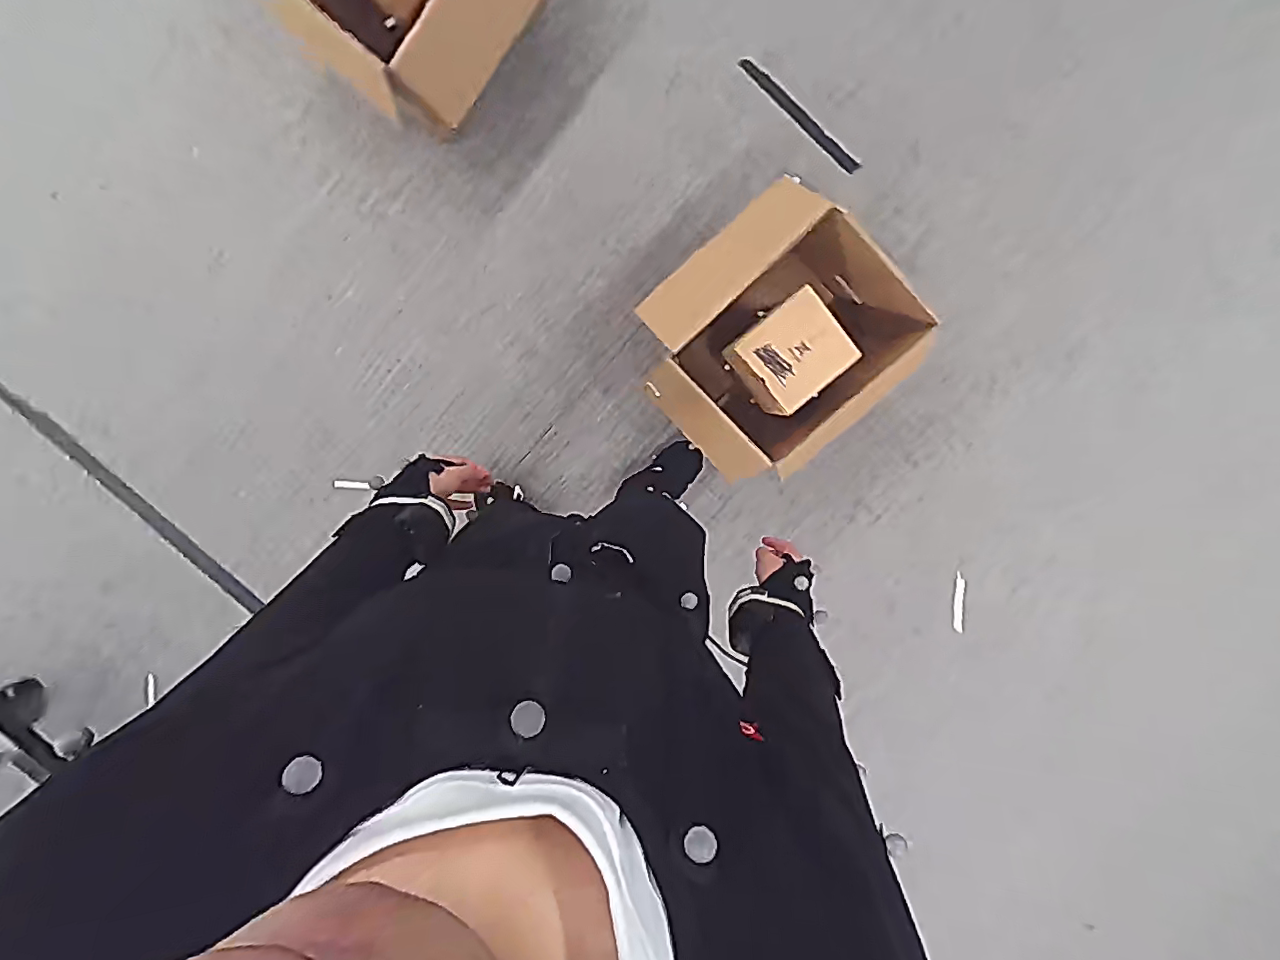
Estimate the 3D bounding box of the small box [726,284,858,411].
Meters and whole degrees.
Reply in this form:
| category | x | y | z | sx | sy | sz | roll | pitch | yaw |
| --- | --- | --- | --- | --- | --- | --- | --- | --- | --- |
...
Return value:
| category | x | y | z | sx | sy | sz | roll | pitch | yaw |
| --- | --- | --- | --- | --- | --- | --- | --- | --- | --- |
| small box | 0.286 | -0.252 | 1.069 | 0.179 | 0.176 | 0.168 | -39 | 98 | 4 |

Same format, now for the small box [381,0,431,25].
| category | x | y | z | sx | sy | sz | roll | pitch | yaw |
| --- | --- | --- | --- | --- | --- | --- | --- | --- | --- |
| small box | -0.461 | -1.007 | 0.984 | 0.168 | 0.176 | 0.179 | 42 | 98 | -4 |
